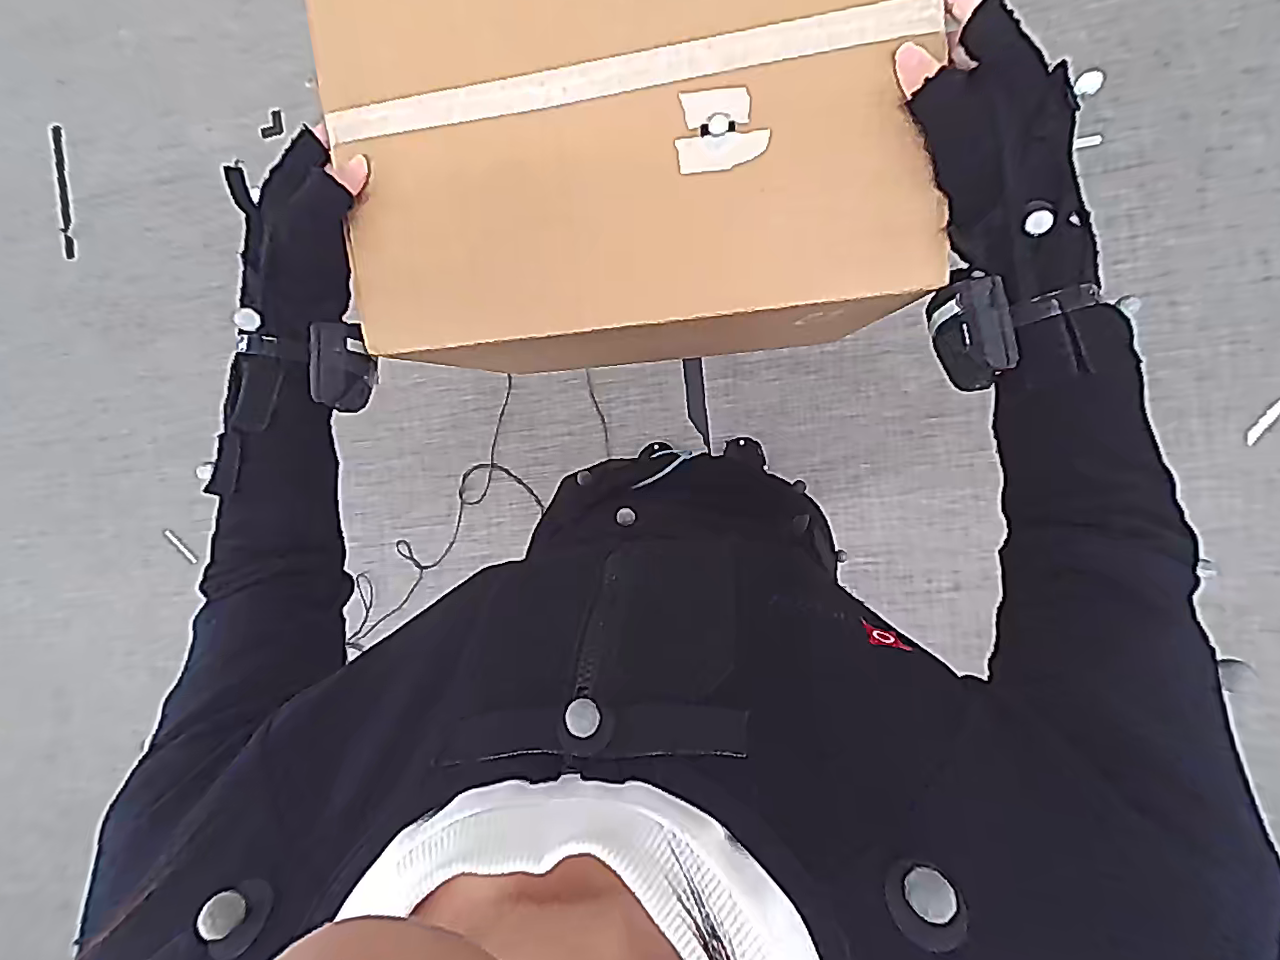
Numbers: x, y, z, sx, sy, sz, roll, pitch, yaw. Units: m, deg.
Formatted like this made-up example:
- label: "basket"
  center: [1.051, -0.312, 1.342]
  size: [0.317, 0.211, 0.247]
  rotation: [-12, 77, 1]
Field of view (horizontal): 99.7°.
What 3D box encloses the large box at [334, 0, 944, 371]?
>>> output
- label: "large box"
  center: [0.005, -0.290, 0.510]
  size: [0.408, 0.320, 0.320]
  rotation: [-5, 98, 7]
